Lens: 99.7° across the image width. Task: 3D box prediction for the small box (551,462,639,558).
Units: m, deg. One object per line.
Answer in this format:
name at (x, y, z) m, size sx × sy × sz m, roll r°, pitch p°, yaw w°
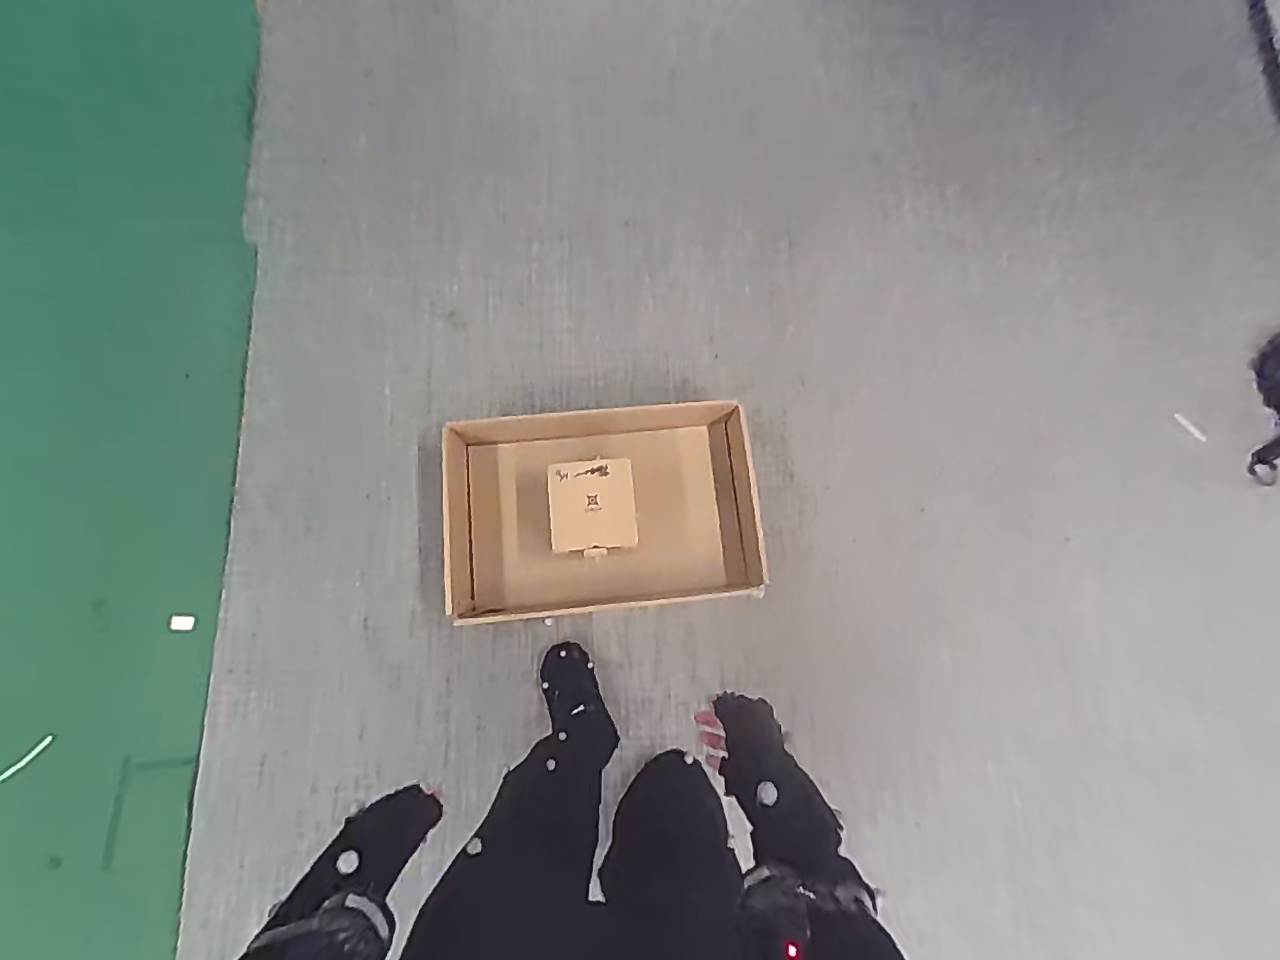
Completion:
small box at (-0.089, 0.070, 1.124) m, size 0.168 × 0.176 × 0.179 m, roll -5°, pitch 79°, yaw -3°
